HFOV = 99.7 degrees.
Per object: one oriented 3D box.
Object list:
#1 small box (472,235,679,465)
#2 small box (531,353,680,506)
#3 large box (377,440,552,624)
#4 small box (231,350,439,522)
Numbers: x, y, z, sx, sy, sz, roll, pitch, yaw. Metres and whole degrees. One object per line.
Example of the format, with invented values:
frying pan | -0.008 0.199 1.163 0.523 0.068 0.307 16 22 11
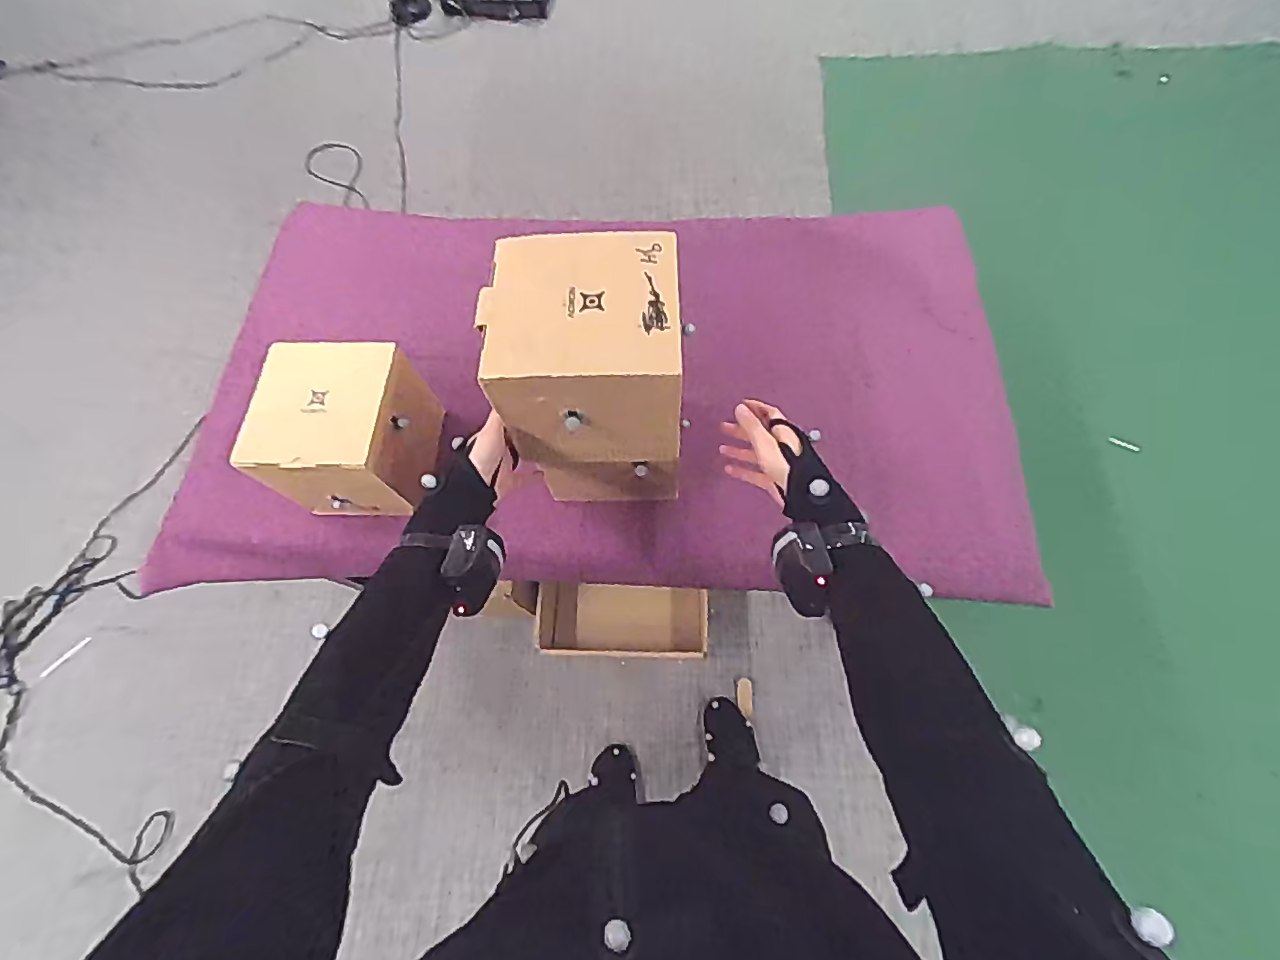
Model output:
small box | -0.050 -0.122 0.557 0.179 0.176 0.168 -1 66 3
small box | -0.038 -0.070 0.713 0.179 0.176 0.168 -1 66 3
large box | -0.411 0.141 1.370 0.320 0.320 0.408 0 68 3
small box | -0.390 -0.054 0.731 0.168 0.176 0.179 1 67 3
